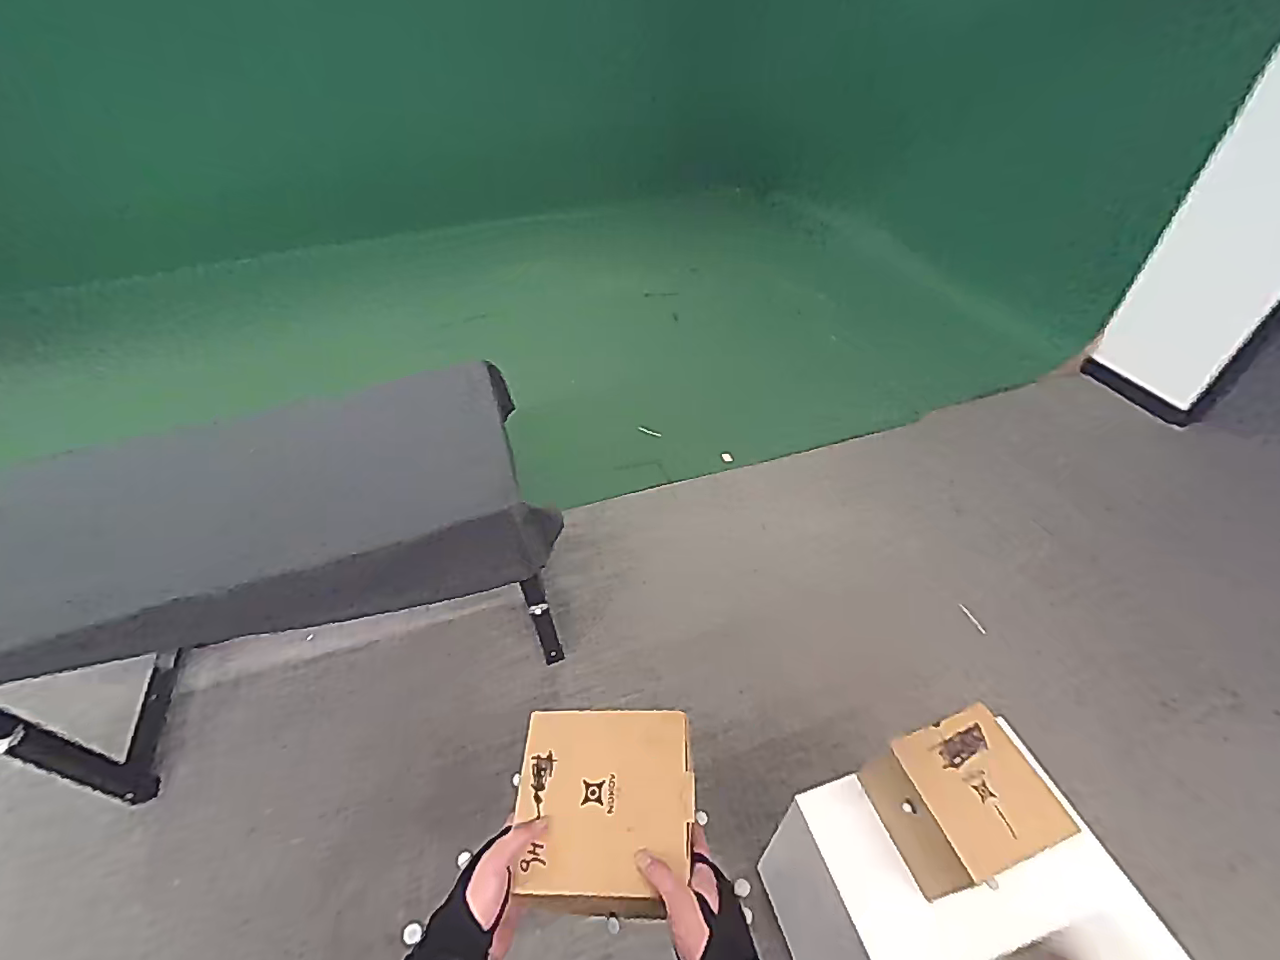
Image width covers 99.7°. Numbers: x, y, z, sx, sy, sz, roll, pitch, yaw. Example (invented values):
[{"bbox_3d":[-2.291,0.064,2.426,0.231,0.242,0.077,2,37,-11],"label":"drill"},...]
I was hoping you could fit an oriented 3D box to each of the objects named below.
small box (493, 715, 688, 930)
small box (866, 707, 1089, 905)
[{"bbox_3d":[-0.036,0.372,0.589,0.179,0.176,0.168,-2,45,5],"label":"small box"},{"bbox_3d":[0.451,0.458,0.761,0.168,0.176,0.179,-16,48,-11],"label":"small box"}]
